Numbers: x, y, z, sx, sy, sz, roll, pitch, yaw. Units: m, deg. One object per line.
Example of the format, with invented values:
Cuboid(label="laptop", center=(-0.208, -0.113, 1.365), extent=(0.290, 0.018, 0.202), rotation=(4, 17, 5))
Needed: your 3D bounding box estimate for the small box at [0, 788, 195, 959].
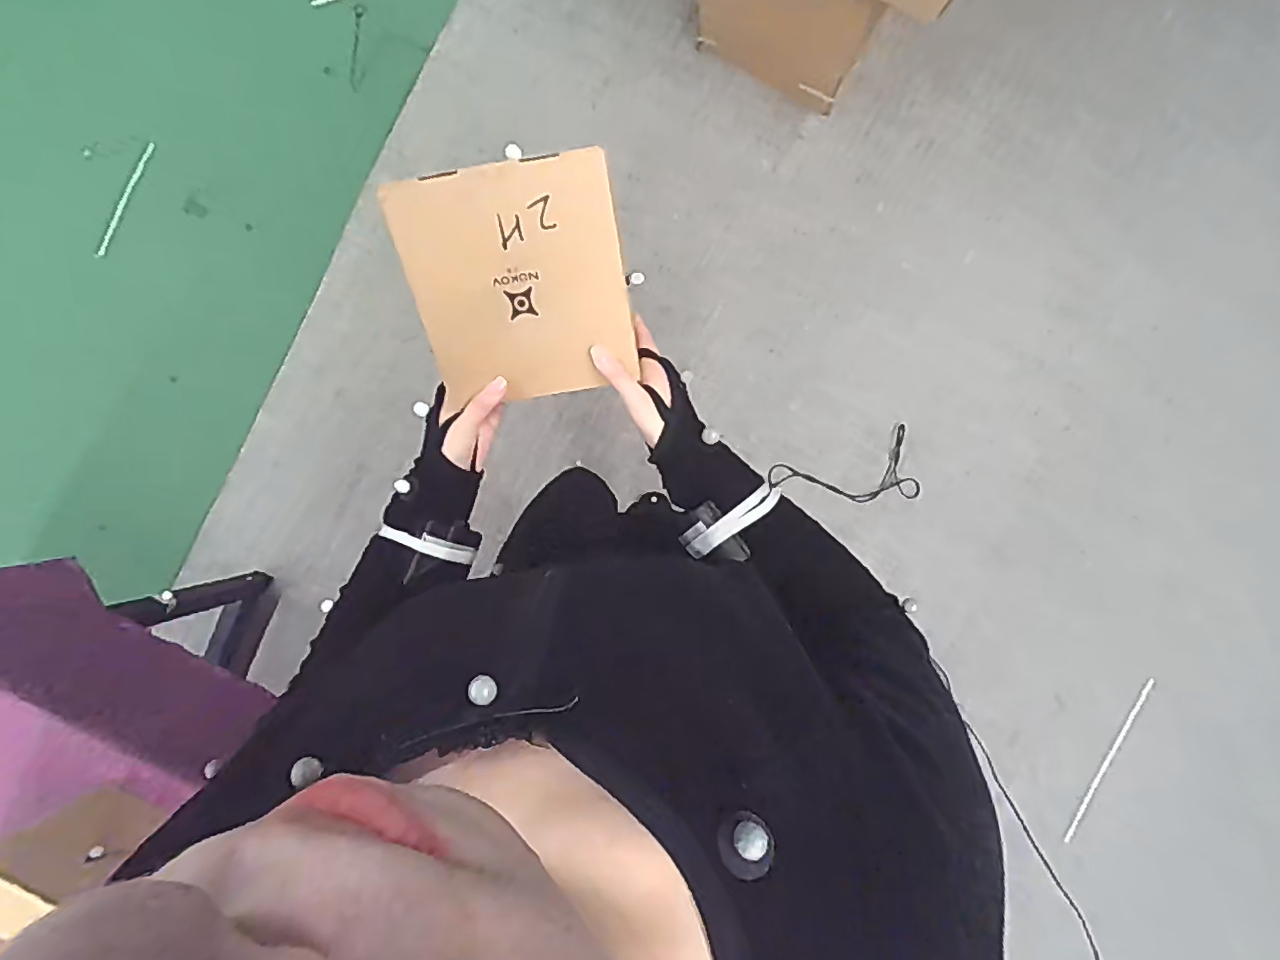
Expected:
Cuboid(label="small box", center=(-0.776, 0.567, 0.743), extent=(0.179, 0.176, 0.168), rotation=(23, 92, 3))

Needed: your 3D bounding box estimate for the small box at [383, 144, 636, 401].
Cuboid(label="small box", center=(-0.094, -0.191, 0.491), extent=(0.168, 0.176, 0.179), rotation=(-8, 119, 2))
